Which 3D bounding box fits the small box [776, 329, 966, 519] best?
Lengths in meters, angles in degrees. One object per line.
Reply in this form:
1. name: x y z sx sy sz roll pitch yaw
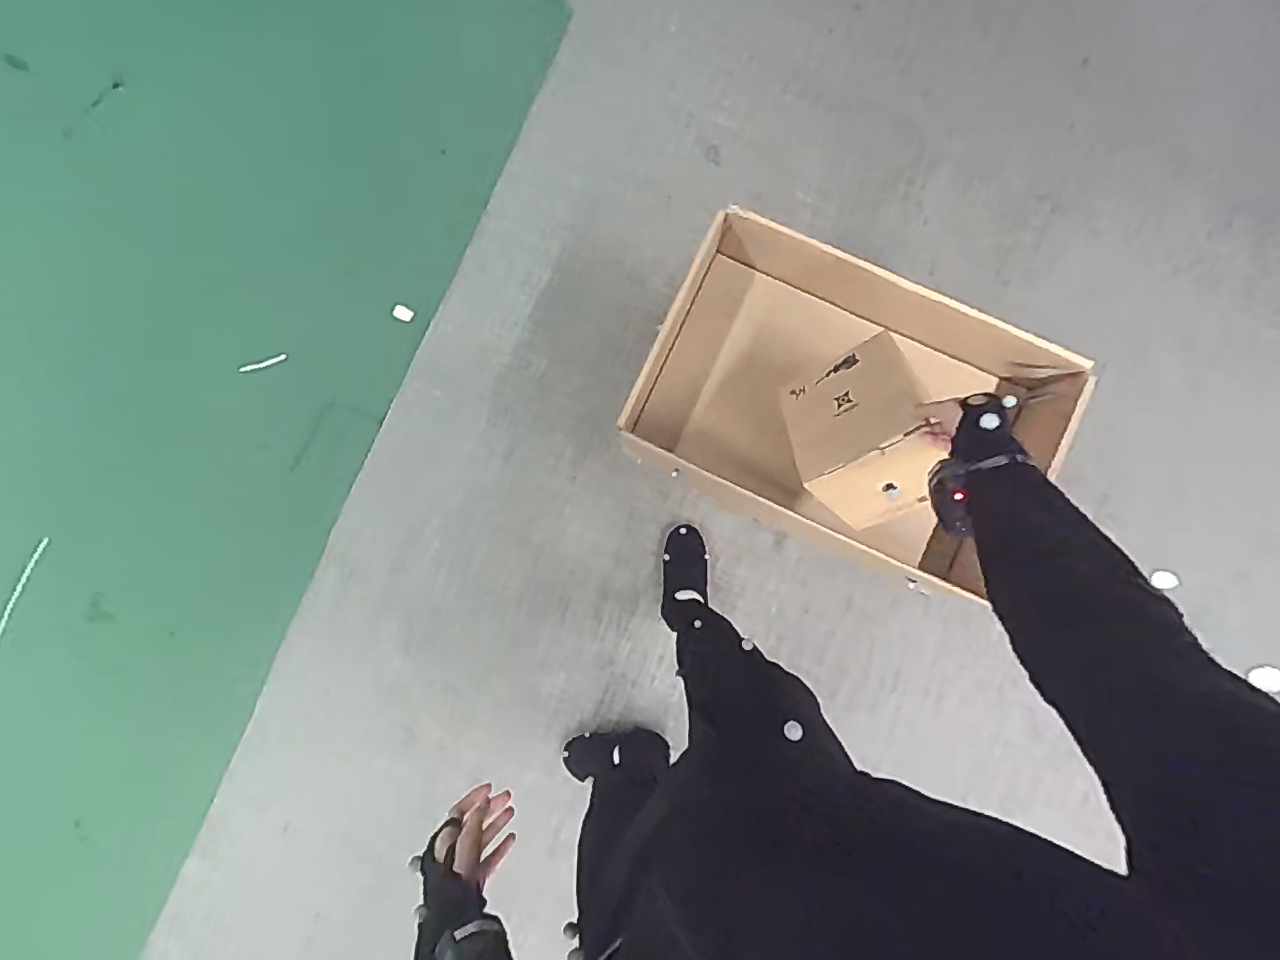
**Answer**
1. small box: 0.316 -0.063 0.745 0.168 0.176 0.179 -29 47 31
